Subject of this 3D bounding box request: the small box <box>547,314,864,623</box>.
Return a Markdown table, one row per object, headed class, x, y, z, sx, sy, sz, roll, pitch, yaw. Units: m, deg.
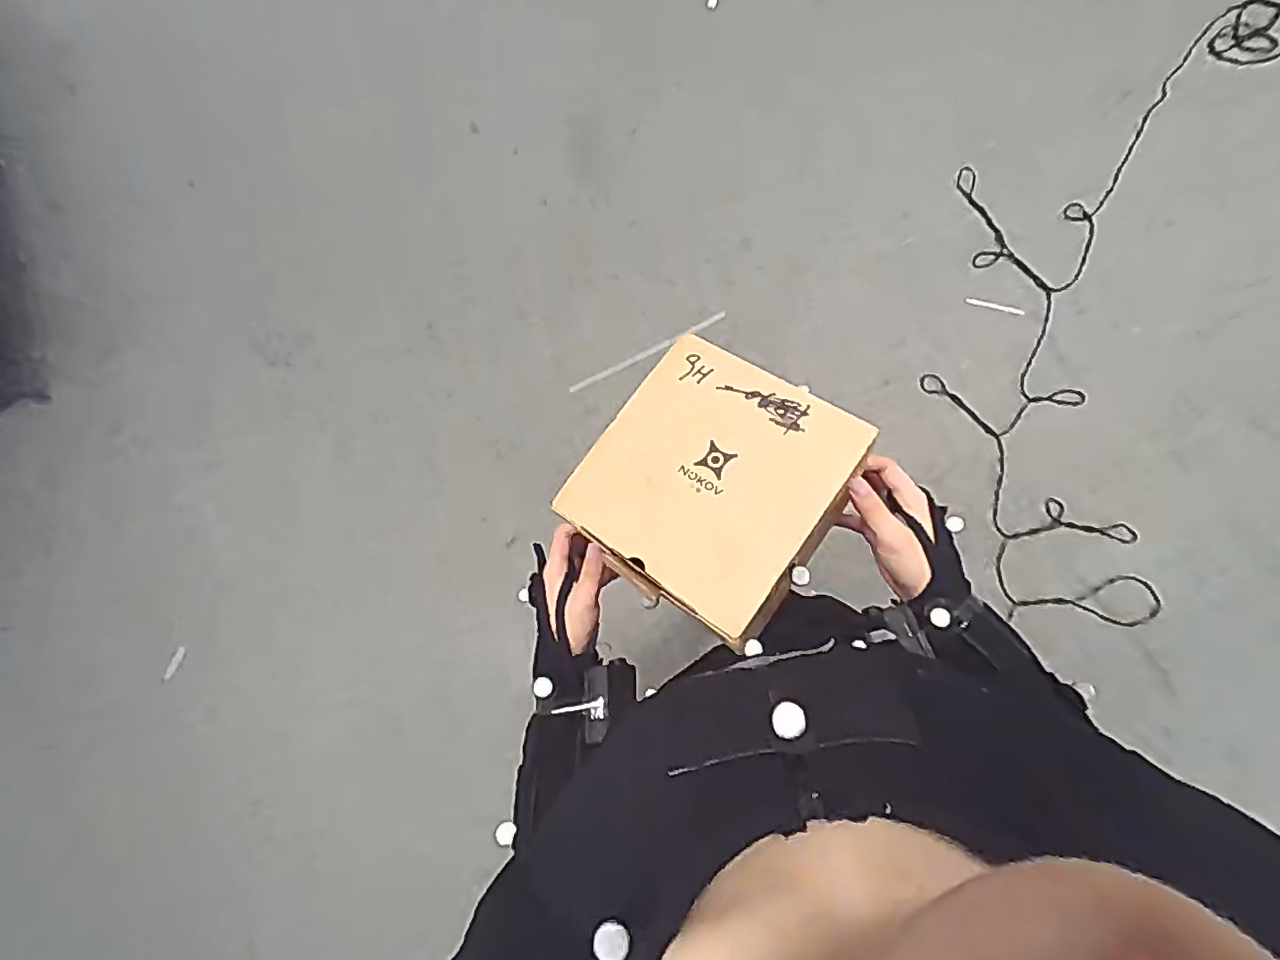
| class | x | y | z | sx | sy | sz | roll | pitch | yaw |
| --- | --- | --- | --- | --- | --- | --- | --- | --- | --- |
| small box | 0.059 | 0.005 | 0.457 | 0.168 | 0.176 | 0.179 | 34 | 82 | 20 |
